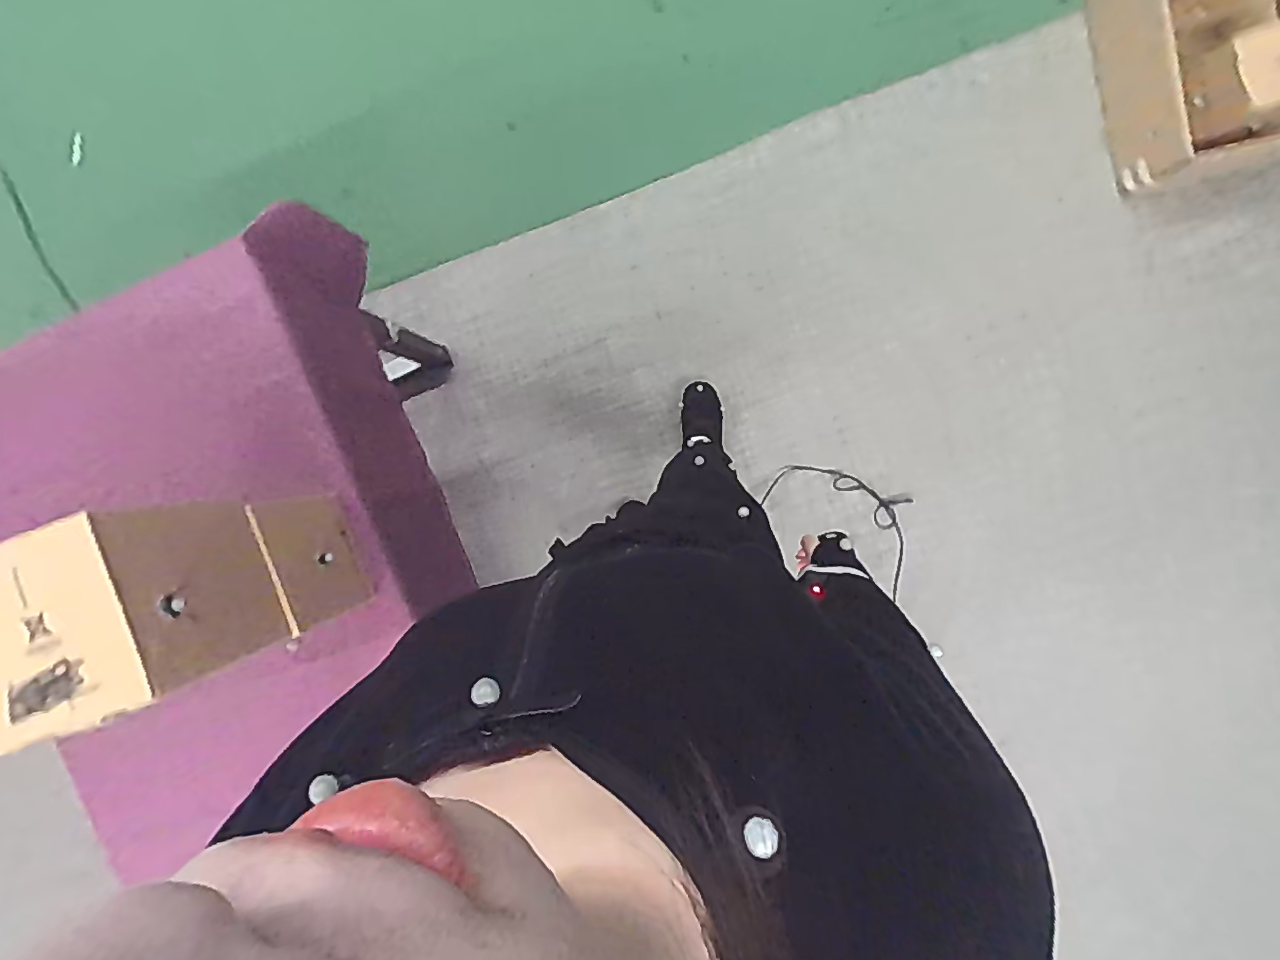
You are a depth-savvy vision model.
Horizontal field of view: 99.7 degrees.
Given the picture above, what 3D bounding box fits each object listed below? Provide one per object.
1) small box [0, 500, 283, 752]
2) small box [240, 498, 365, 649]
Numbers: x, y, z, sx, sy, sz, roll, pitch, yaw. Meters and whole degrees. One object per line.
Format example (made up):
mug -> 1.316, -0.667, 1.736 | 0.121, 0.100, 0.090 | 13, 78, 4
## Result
small box -> -0.511, 0.131, 0.549 | 0.168, 0.176, 0.179 | -19, 91, 3
small box -> -0.497, 0.129, 0.714 | 0.179, 0.176, 0.168 | -20, 91, 4
